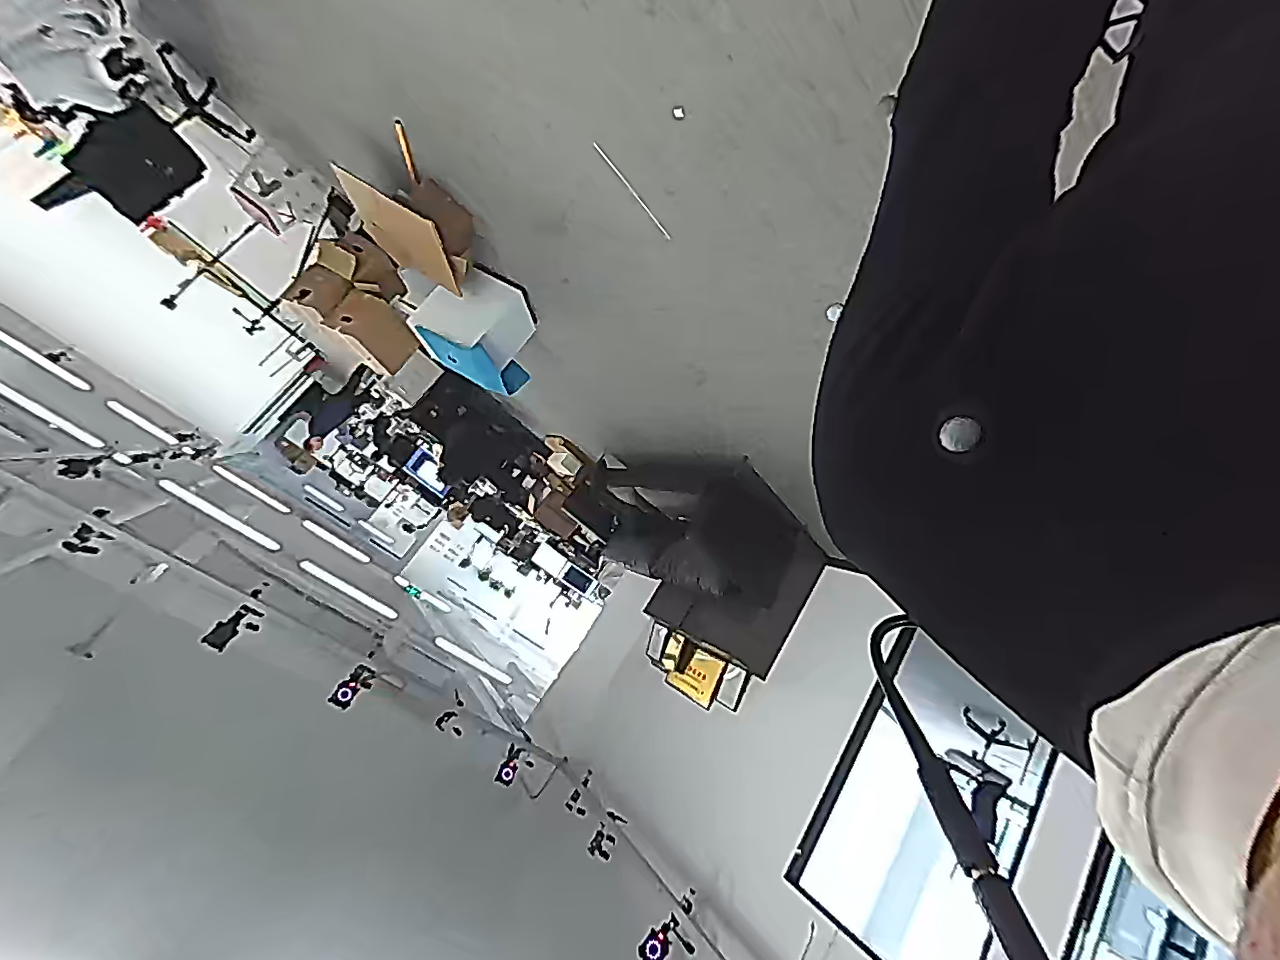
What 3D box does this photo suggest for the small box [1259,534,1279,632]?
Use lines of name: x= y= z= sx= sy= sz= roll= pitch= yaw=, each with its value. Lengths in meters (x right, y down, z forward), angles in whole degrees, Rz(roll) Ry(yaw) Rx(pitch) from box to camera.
small box: x=1.372 y=0.213 z=1.070 sx=0.168 sy=0.176 sz=0.179 roll=13 pitch=153 yaw=52
